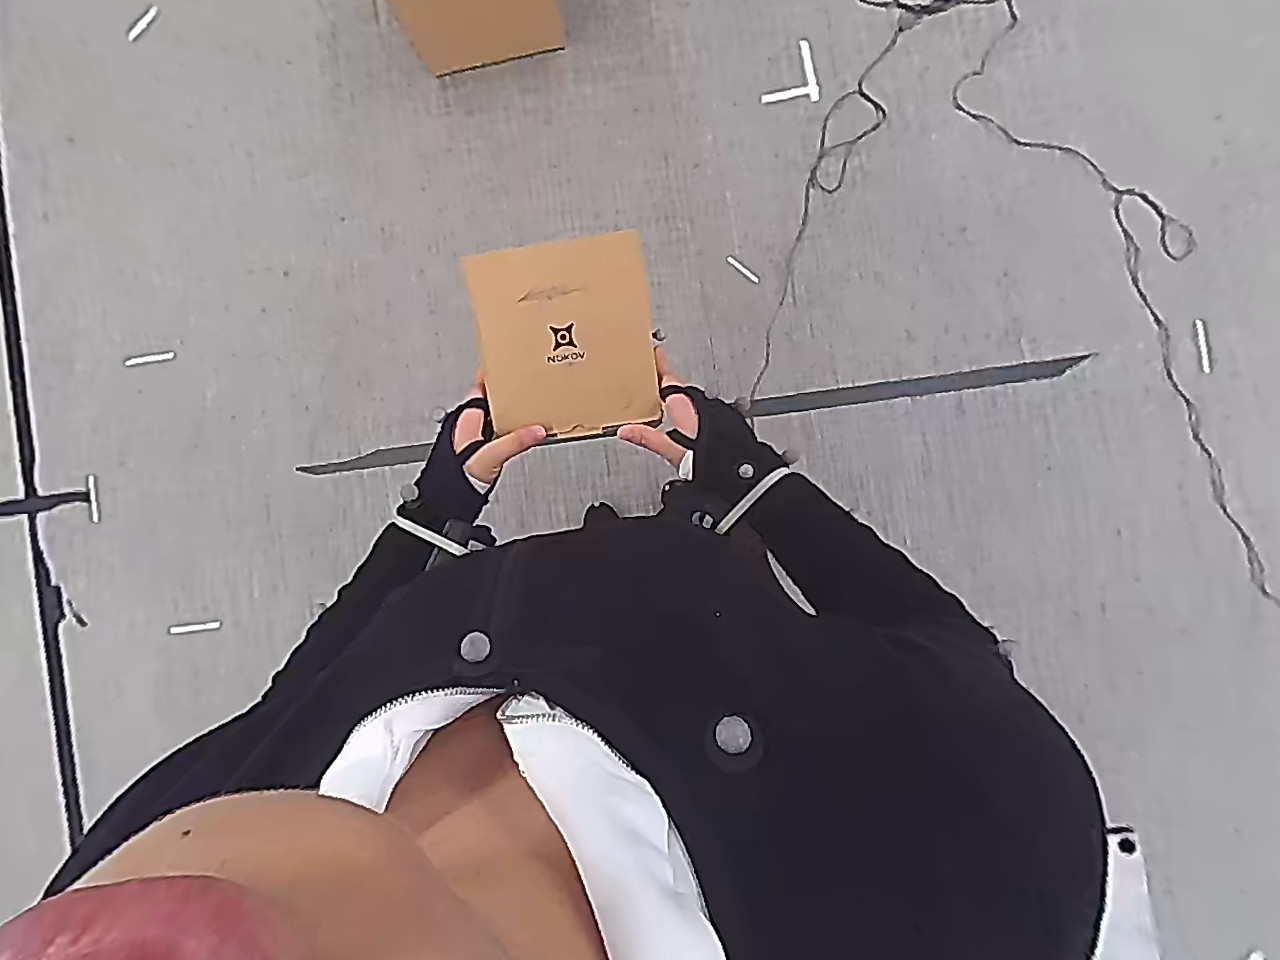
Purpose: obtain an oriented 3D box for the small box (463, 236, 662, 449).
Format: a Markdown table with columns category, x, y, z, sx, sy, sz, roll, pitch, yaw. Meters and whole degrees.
| category | x | y | z | sx | sy | sz | roll | pitch | yaw |
| --- | --- | --- | --- | --- | --- | --- | --- | --- | --- |
| small box | -0.066 | -0.139 | 0.576 | 0.168 | 0.176 | 0.179 | -8 | 101 | 3 |
